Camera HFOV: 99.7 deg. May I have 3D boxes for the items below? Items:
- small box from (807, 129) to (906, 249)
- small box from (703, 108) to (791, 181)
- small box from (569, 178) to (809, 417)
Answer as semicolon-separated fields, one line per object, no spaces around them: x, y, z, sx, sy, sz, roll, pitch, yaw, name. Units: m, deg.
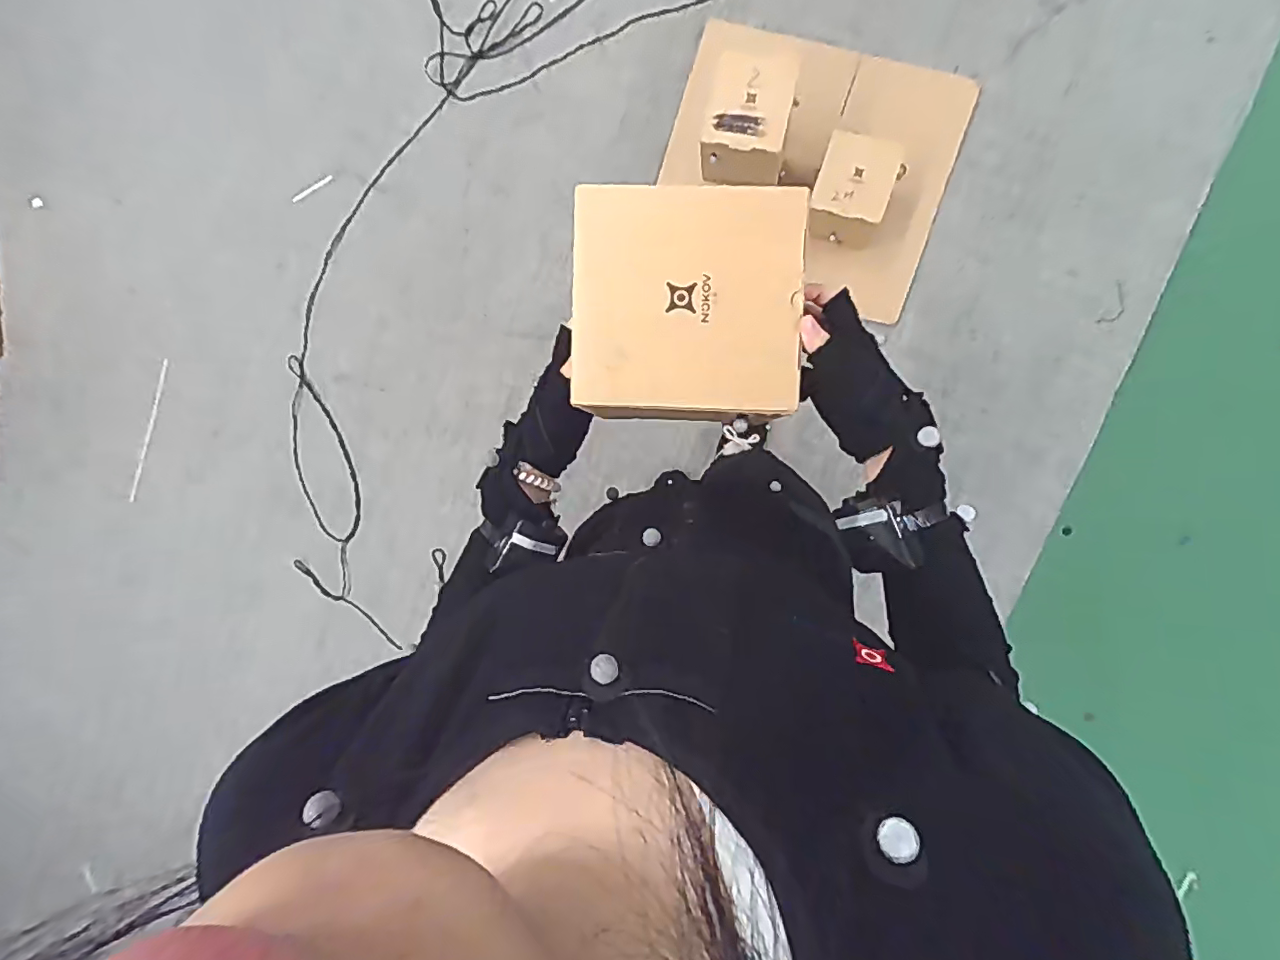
0.494;-0.680;1.278;0.168;0.176;0.179;18;97;8;small box
0.254;-0.749;1.306;0.168;0.176;0.179;14;95;7;small box
0.039;-0.144;0.483;0.179;0.176;0.168;2;94;2;small box
